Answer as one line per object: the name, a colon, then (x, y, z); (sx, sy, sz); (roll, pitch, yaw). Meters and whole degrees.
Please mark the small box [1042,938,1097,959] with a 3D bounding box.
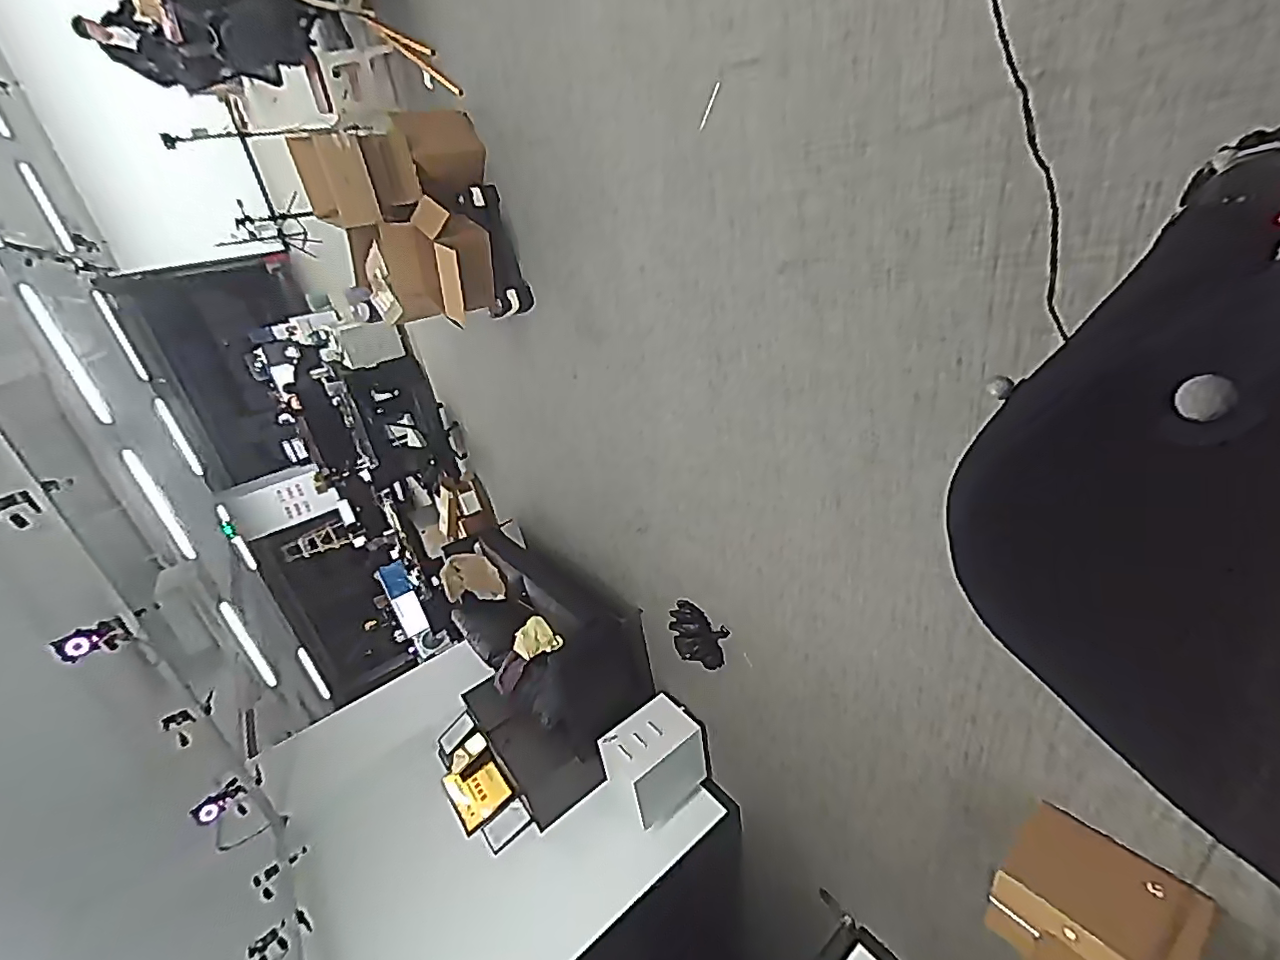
small box: (1.161, 1.373, 1.428); (0.179, 0.176, 0.168); (22, 125, 52)
